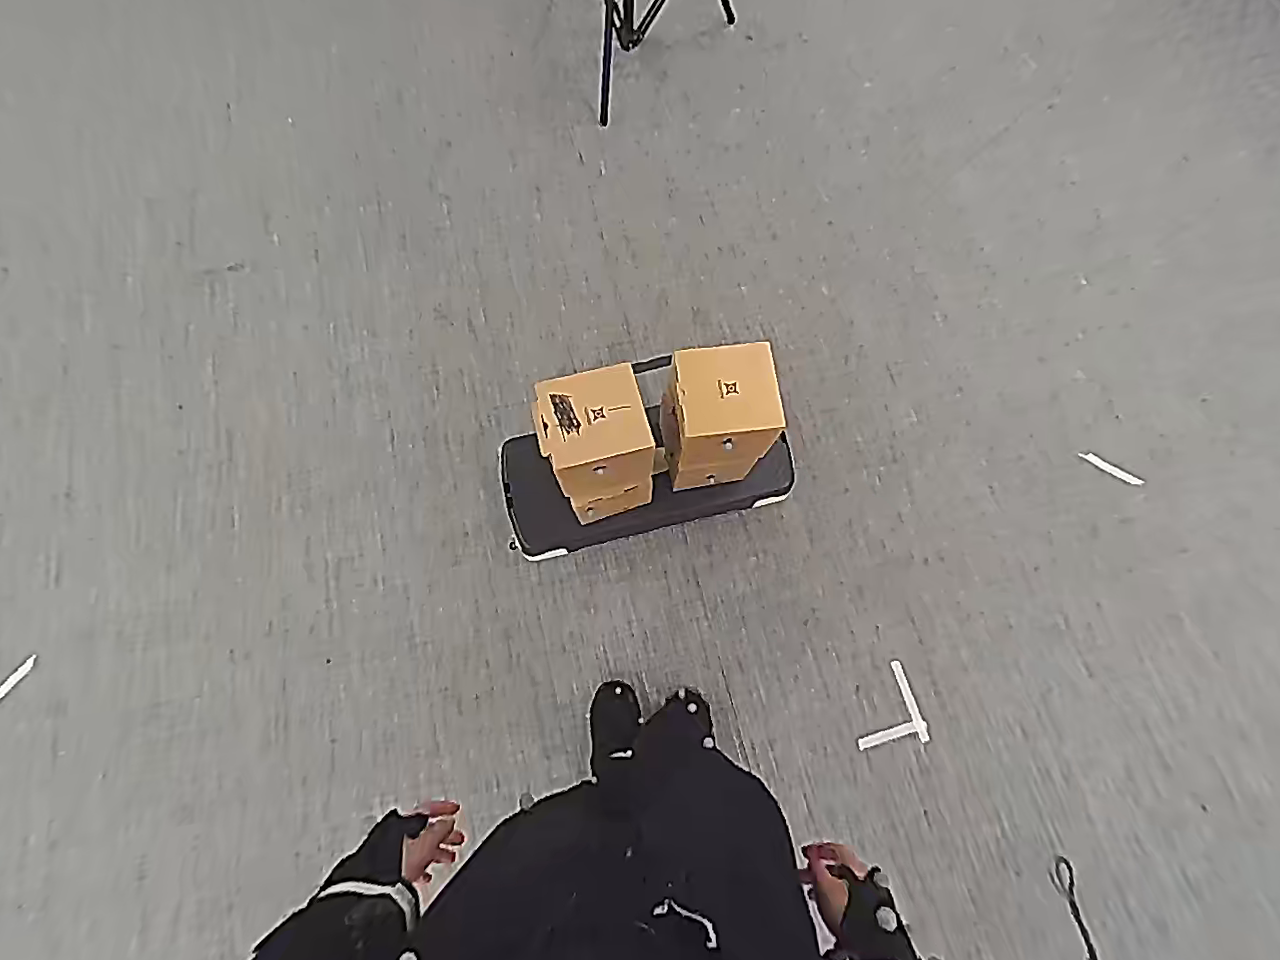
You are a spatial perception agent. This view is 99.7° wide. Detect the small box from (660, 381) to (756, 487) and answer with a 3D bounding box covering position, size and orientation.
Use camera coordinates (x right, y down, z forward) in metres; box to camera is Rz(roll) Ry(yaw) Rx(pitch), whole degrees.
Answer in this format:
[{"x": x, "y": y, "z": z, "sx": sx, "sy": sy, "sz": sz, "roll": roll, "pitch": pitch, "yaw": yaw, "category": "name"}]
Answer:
[{"x": 0.139, "y": -0.090, "z": 1.167, "sx": 0.168, "sy": 0.176, "sz": 0.179, "roll": -10, "pitch": 75, "yaw": -3, "category": "small box"}]
